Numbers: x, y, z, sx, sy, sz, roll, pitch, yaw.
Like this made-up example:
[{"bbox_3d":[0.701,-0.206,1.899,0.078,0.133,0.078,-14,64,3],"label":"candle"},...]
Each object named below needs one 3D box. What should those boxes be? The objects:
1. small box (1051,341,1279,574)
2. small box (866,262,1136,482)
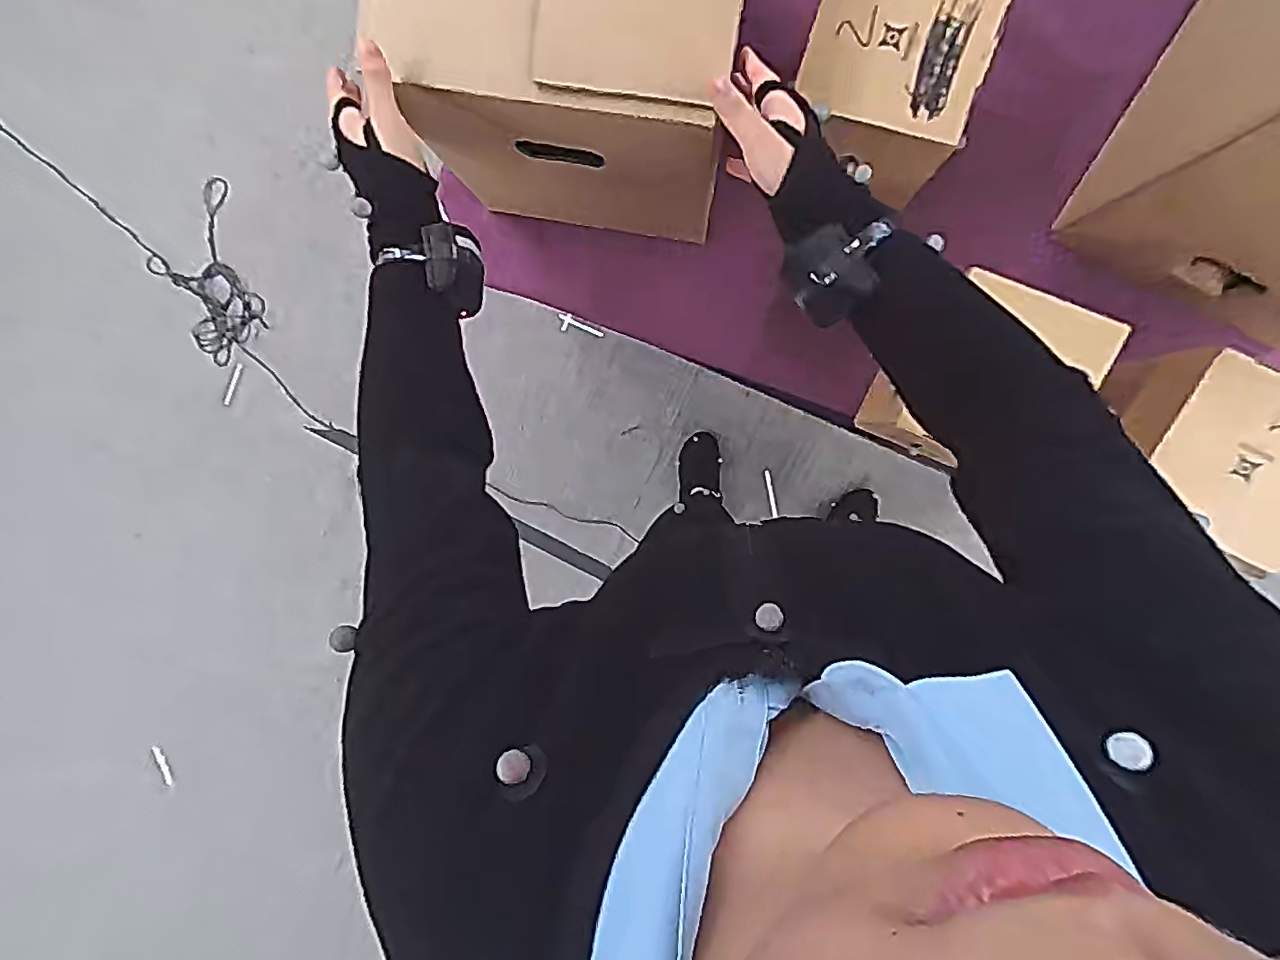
[{"bbox_3d":[0.607,-0.026,0.602,0.168,0.176,0.179,29,97,4],"label":"small box"},{"bbox_3d":[0.388,-0.116,0.623,0.168,0.176,0.179,24,99,5],"label":"small box"}]
